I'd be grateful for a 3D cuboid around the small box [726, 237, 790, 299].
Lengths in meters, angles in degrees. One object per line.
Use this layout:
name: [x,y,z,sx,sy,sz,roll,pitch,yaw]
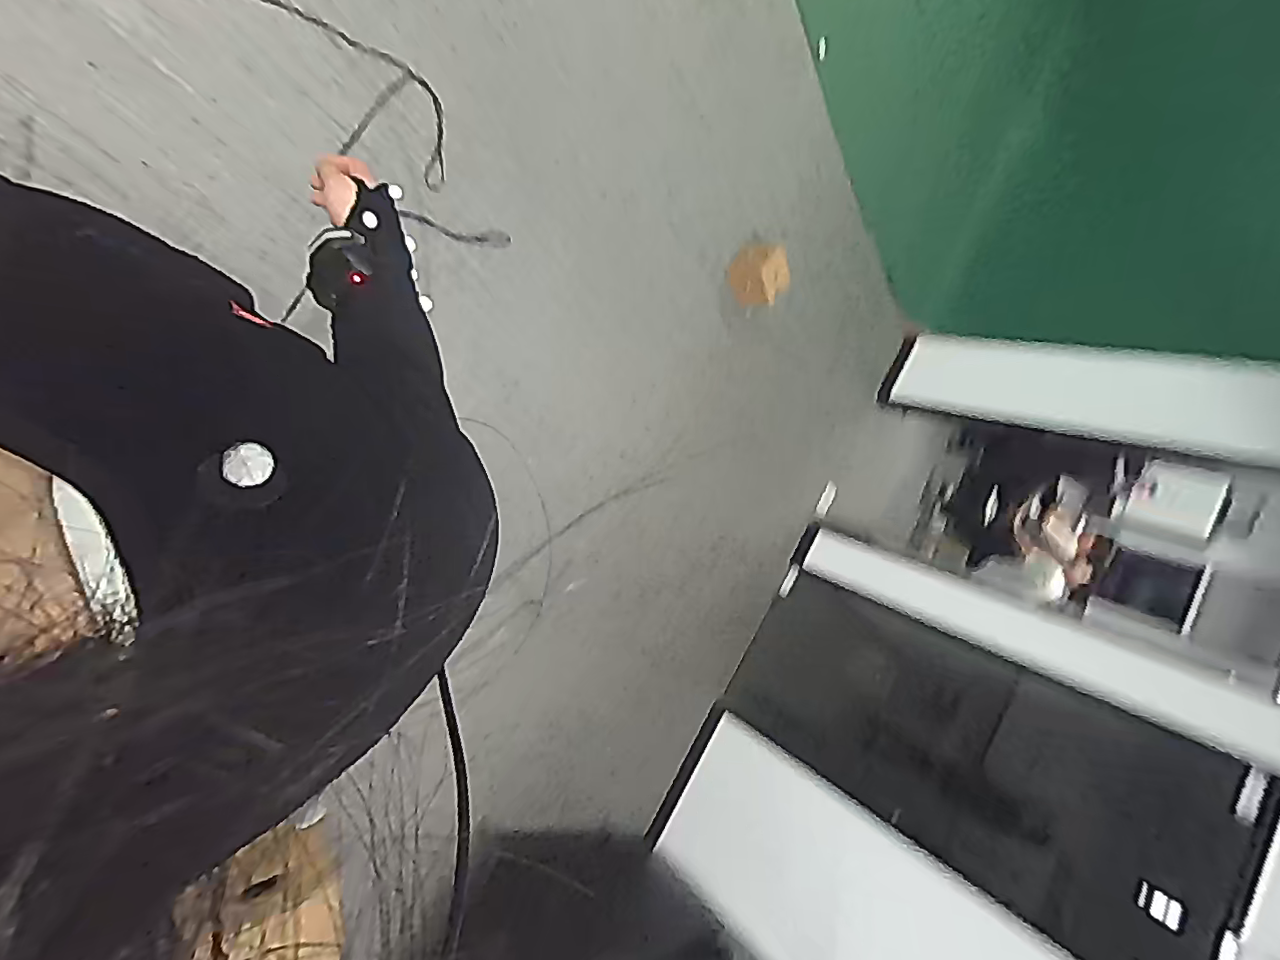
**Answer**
small box: [0.478,-0.860,2.201,0.168,0.176,0.179,-51,134,-17]
